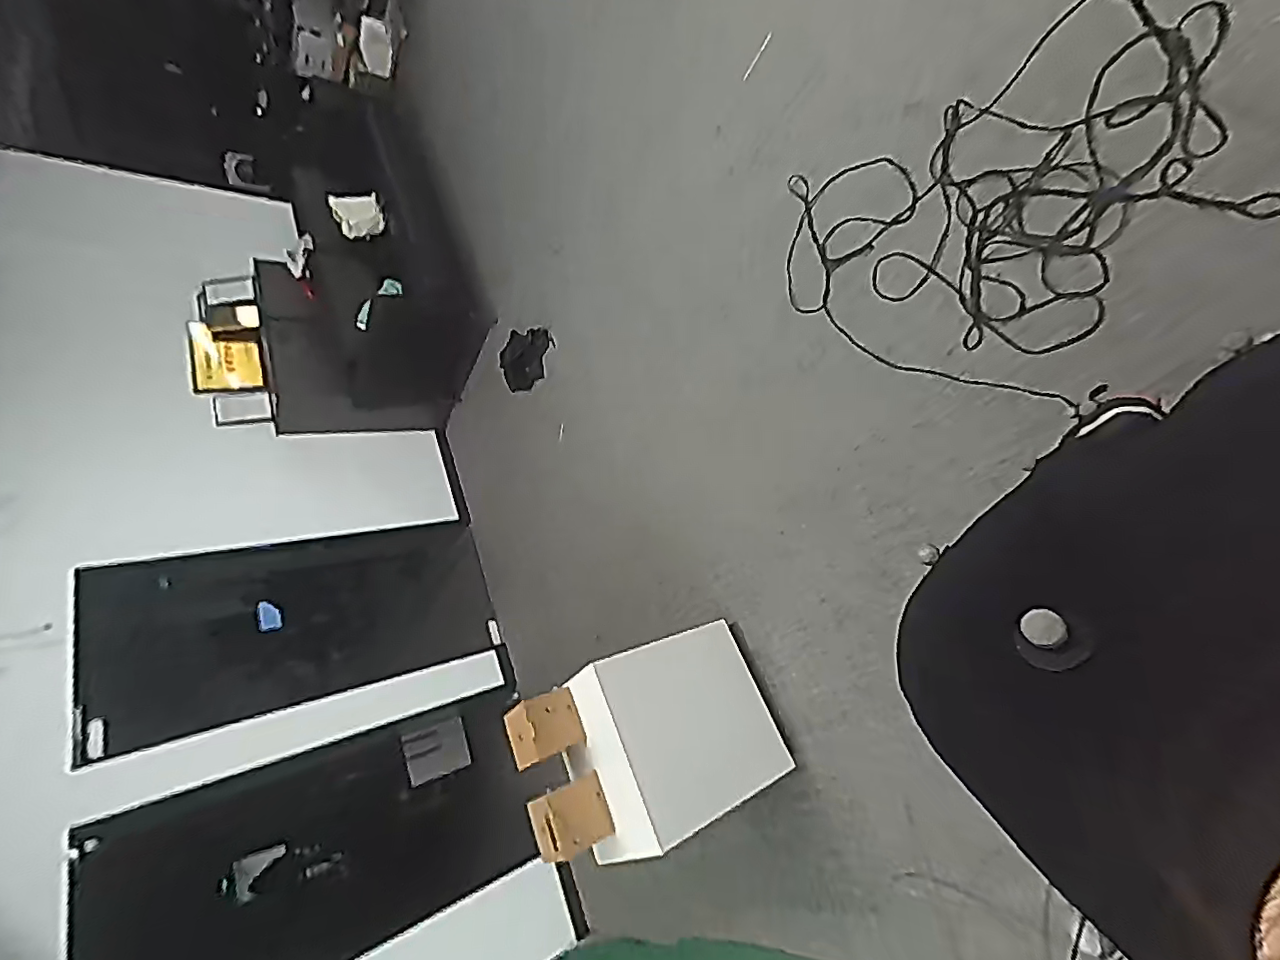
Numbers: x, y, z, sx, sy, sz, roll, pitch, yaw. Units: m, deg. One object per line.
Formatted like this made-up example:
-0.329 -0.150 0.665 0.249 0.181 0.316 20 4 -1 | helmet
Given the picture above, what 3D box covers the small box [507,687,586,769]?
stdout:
-0.285 0.760 1.668 0.179 0.176 0.168 -50 56 44 | small box
